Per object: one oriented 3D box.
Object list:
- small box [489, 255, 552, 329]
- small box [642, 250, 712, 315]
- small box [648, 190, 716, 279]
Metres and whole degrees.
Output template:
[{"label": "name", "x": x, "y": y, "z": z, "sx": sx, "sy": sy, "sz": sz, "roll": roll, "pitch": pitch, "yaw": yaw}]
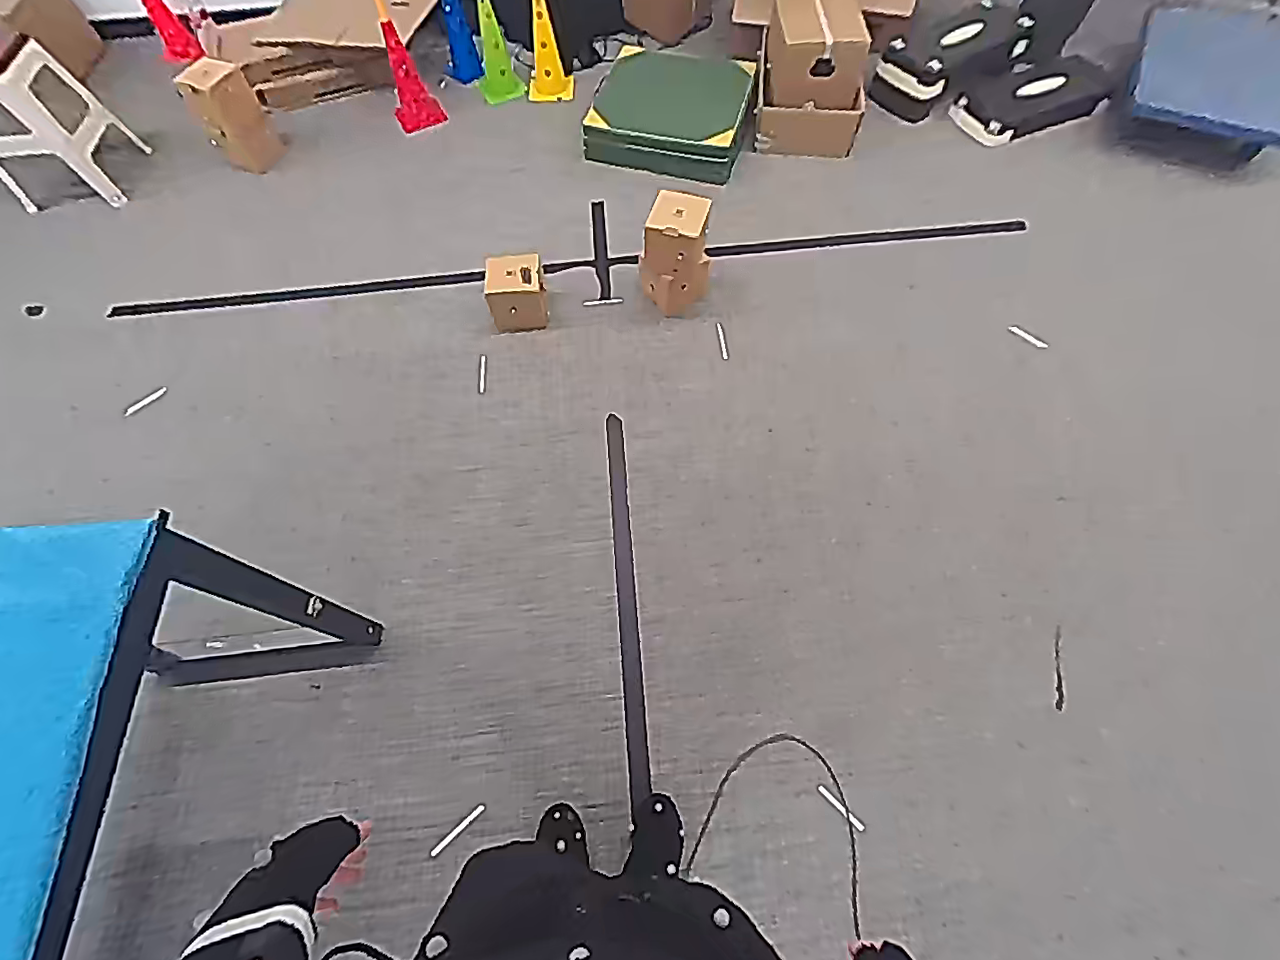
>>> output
[{"label": "small box", "x": -0.394, "y": -0.629, "z": 1.819, "sx": 0.179, "sy": 0.176, "sz": 0.168, "roll": -4, "pitch": 63, "yaw": 1}, {"label": "small box", "x": 0.126, "y": -0.699, "z": 1.842, "sx": 0.179, "sy": 0.176, "sz": 0.168, "roll": -35, "pitch": 68, "yaw": -16}, {"label": "small box", "x": 0.129, "y": -0.761, "z": 1.688, "sx": 0.168, "sy": 0.176, "sz": 0.179, "roll": 16, "pitch": 65, "yaw": 7}]
